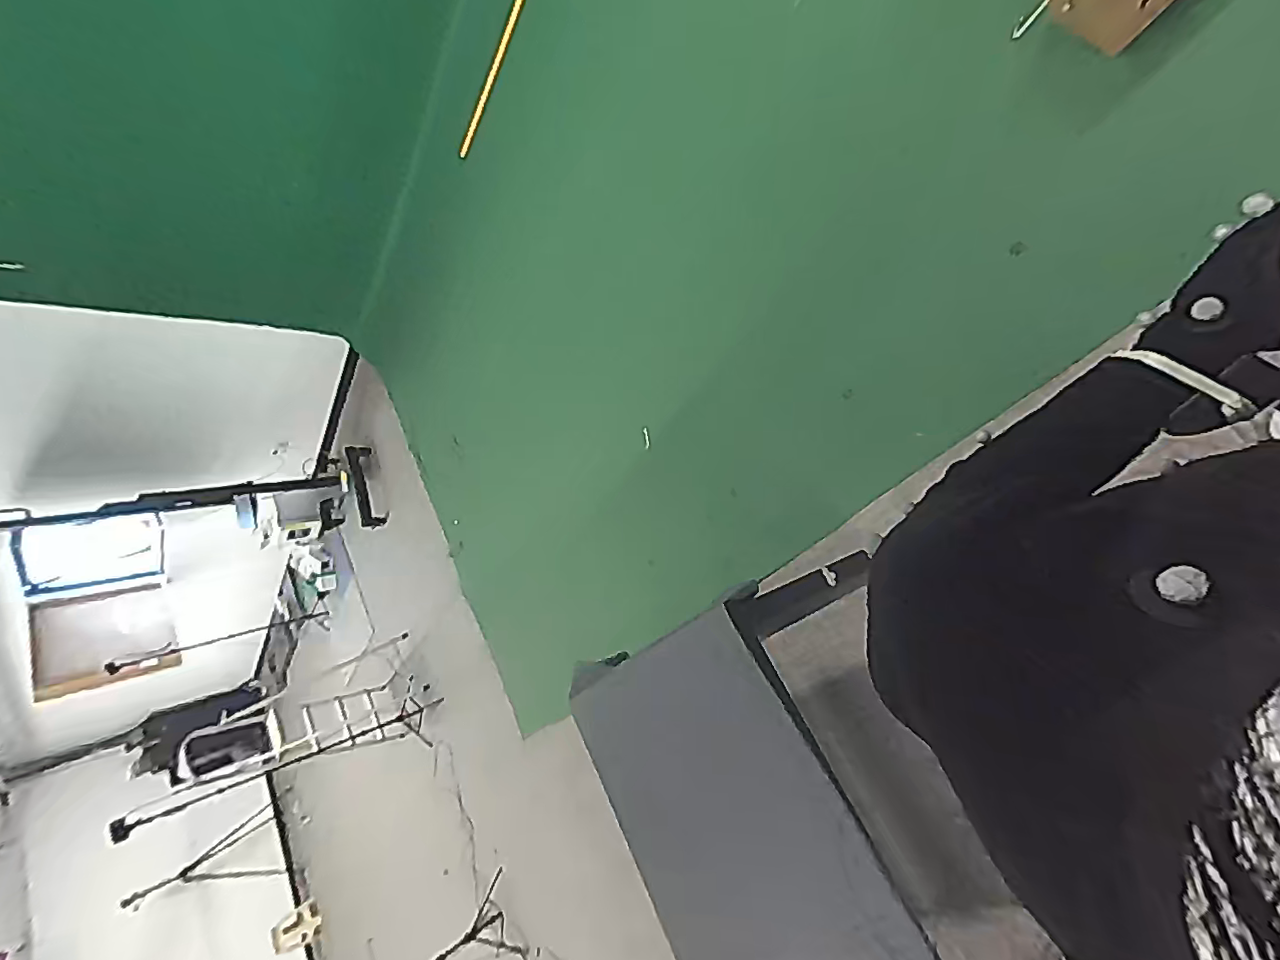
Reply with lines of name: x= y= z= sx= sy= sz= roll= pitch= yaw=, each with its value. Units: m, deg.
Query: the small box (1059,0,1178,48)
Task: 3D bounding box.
small box: x=0.927 y=-0.966 z=1.017 sx=0.168 sy=0.176 sz=0.179 roll=-47 pitch=61 yaw=38
